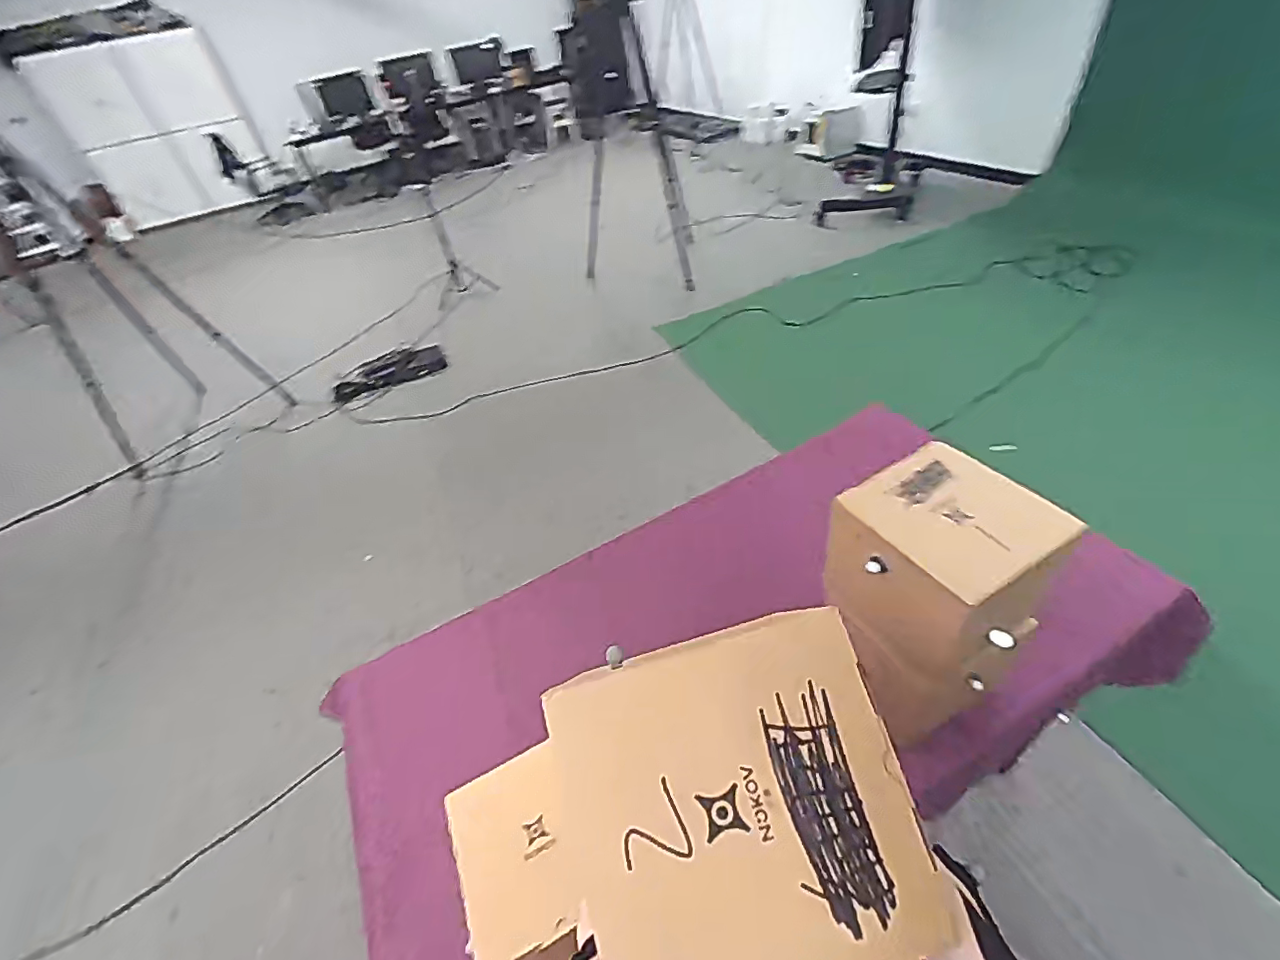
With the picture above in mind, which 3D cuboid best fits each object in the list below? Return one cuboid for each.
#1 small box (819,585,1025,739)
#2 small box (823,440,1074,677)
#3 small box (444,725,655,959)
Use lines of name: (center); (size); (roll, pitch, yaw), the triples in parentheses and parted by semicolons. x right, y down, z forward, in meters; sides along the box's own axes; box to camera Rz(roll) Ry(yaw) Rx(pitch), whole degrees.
small box: (0.363, 0.212, 0.732); (0.179, 0.176, 0.168); (-24, 44, -13)
small box: (0.333, 0.089, 0.627); (0.168, 0.176, 0.179); (-27, 45, -15)
small box: (-0.098, 0.425, 0.612); (0.168, 0.176, 0.179); (-25, 44, -14)
